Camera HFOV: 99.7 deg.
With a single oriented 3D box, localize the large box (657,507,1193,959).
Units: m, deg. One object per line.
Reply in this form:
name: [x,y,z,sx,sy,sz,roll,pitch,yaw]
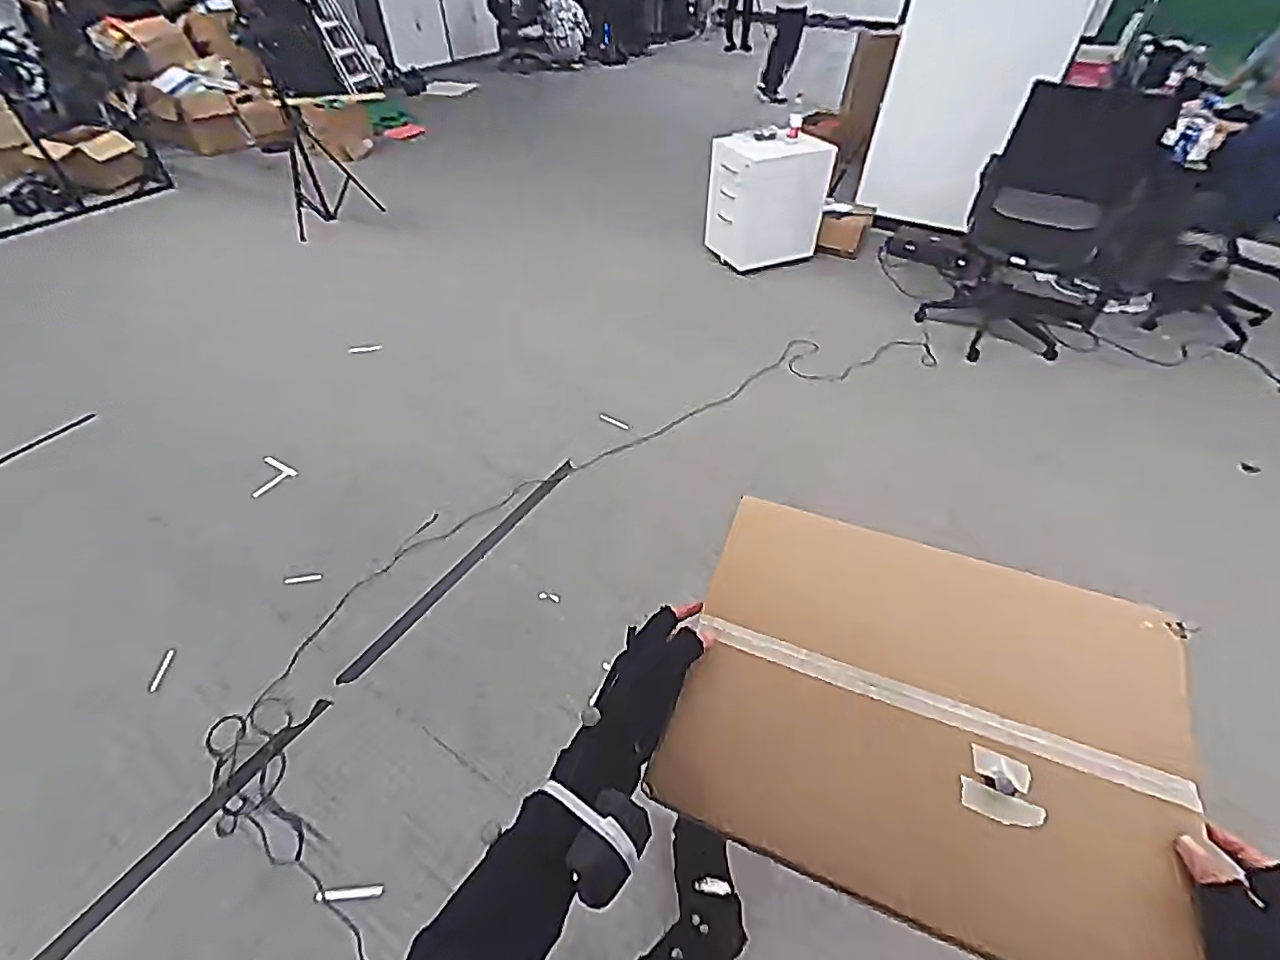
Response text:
large box: [0.263,0.281,0.615,0.408,0.320,0.320,16,61,17]
